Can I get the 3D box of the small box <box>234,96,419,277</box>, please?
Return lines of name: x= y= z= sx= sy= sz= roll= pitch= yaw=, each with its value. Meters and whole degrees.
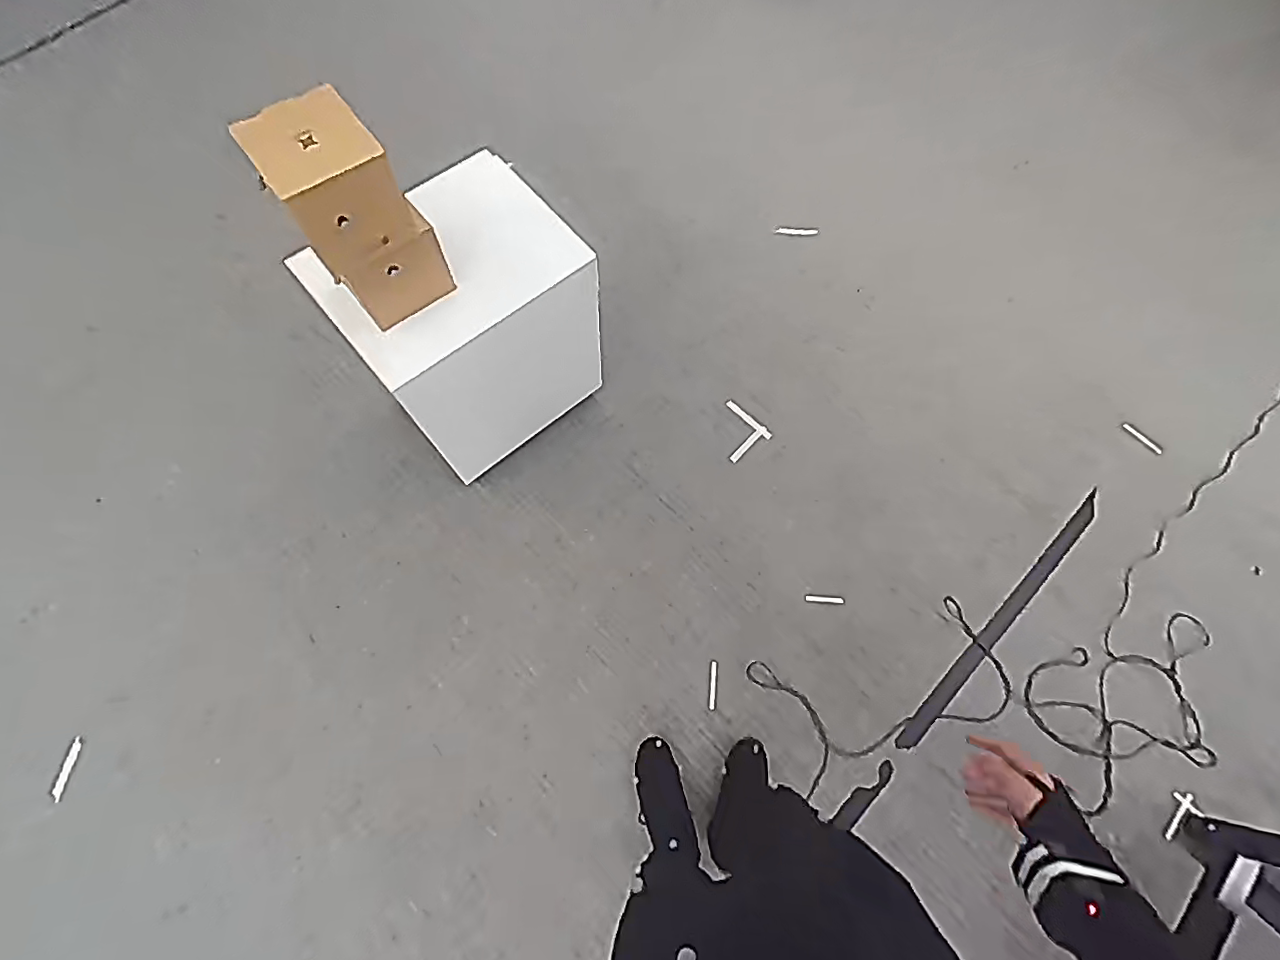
small box: x=-0.492 y=-0.461 z=0.878 sx=0.168 sy=0.176 sz=0.179 roll=-36 pitch=75 yaw=-14

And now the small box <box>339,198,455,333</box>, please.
small box: x=-0.487 y=-0.417 z=1.036 sx=0.179 sy=0.176 sz=0.168 roll=-38 pitch=76 yaw=-15
